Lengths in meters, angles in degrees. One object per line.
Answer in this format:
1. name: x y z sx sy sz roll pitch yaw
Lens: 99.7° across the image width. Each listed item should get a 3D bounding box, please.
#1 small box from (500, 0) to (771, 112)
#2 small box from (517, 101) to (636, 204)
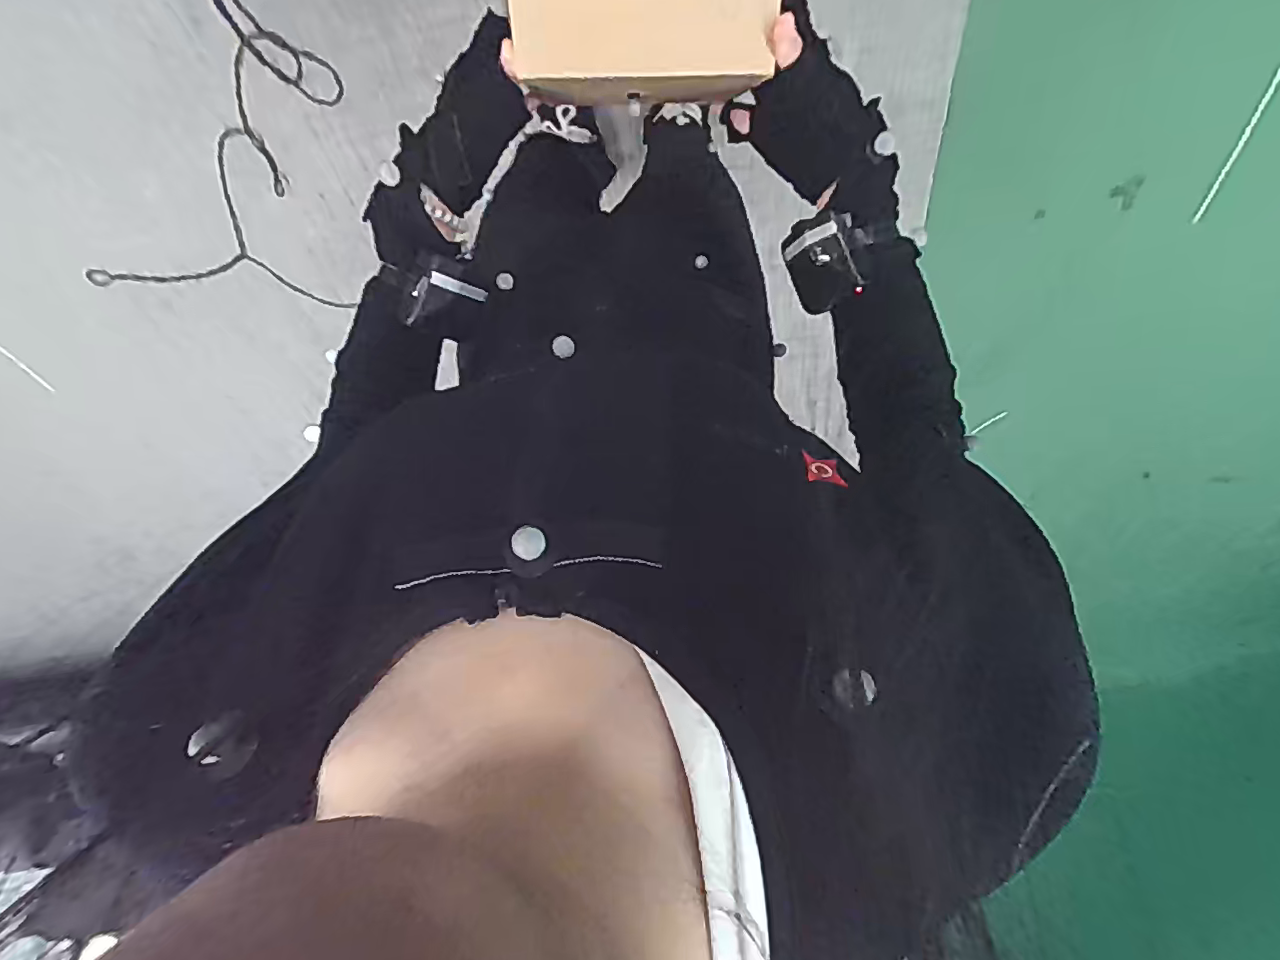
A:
1. small box: -0.003 -0.361 0.371 0.168 0.176 0.179 -2 120 -1
2. small box: -0.133 -0.704 1.096 0.179 0.176 0.168 29 142 -5
